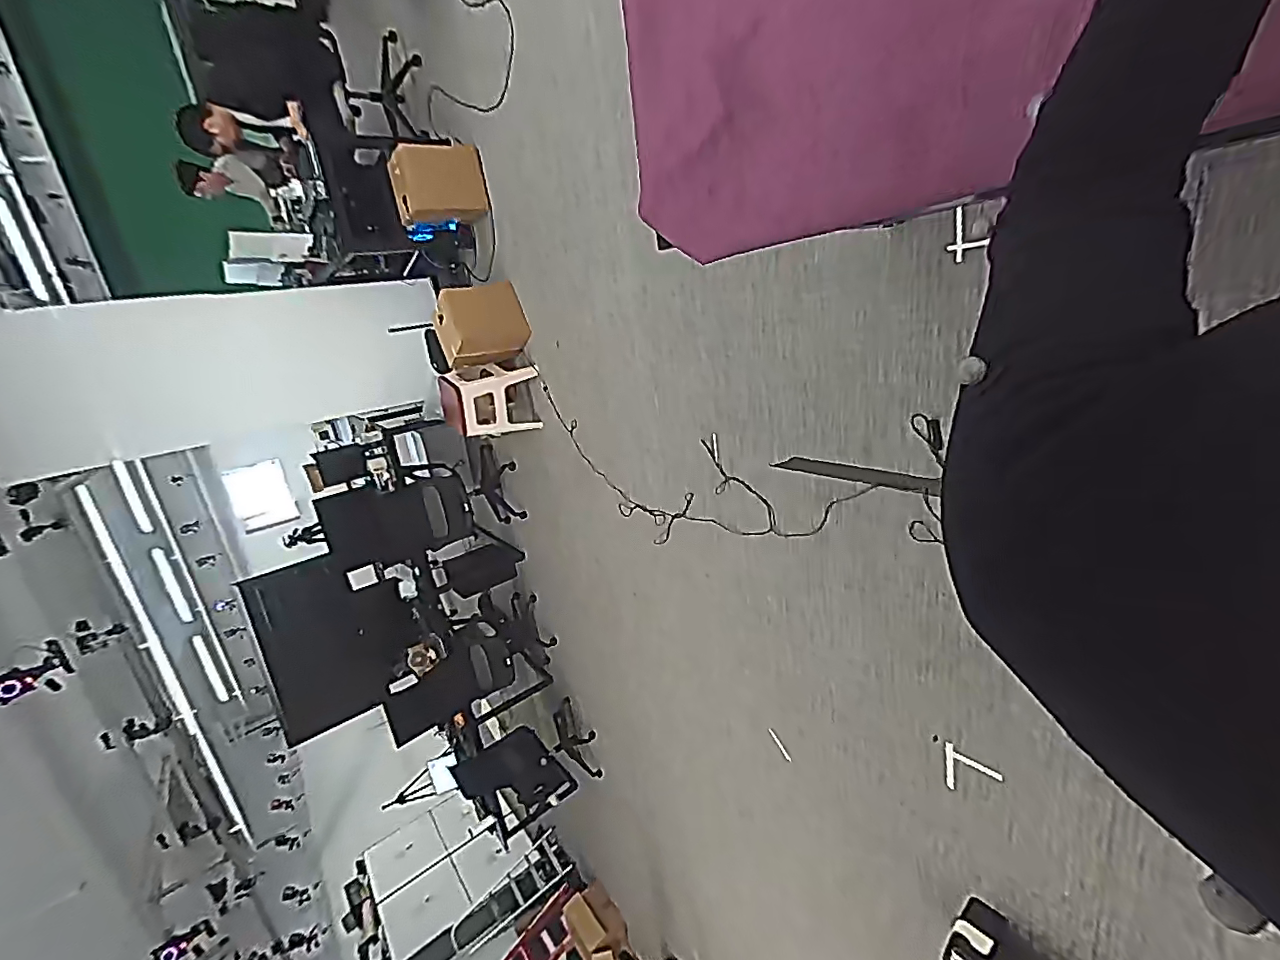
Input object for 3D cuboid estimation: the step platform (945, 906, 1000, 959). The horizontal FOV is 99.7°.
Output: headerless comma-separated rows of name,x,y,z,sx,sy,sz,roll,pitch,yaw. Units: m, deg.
step platform,1.222,1.586,1.500,0.684,0.204,0.286,14,119,51
